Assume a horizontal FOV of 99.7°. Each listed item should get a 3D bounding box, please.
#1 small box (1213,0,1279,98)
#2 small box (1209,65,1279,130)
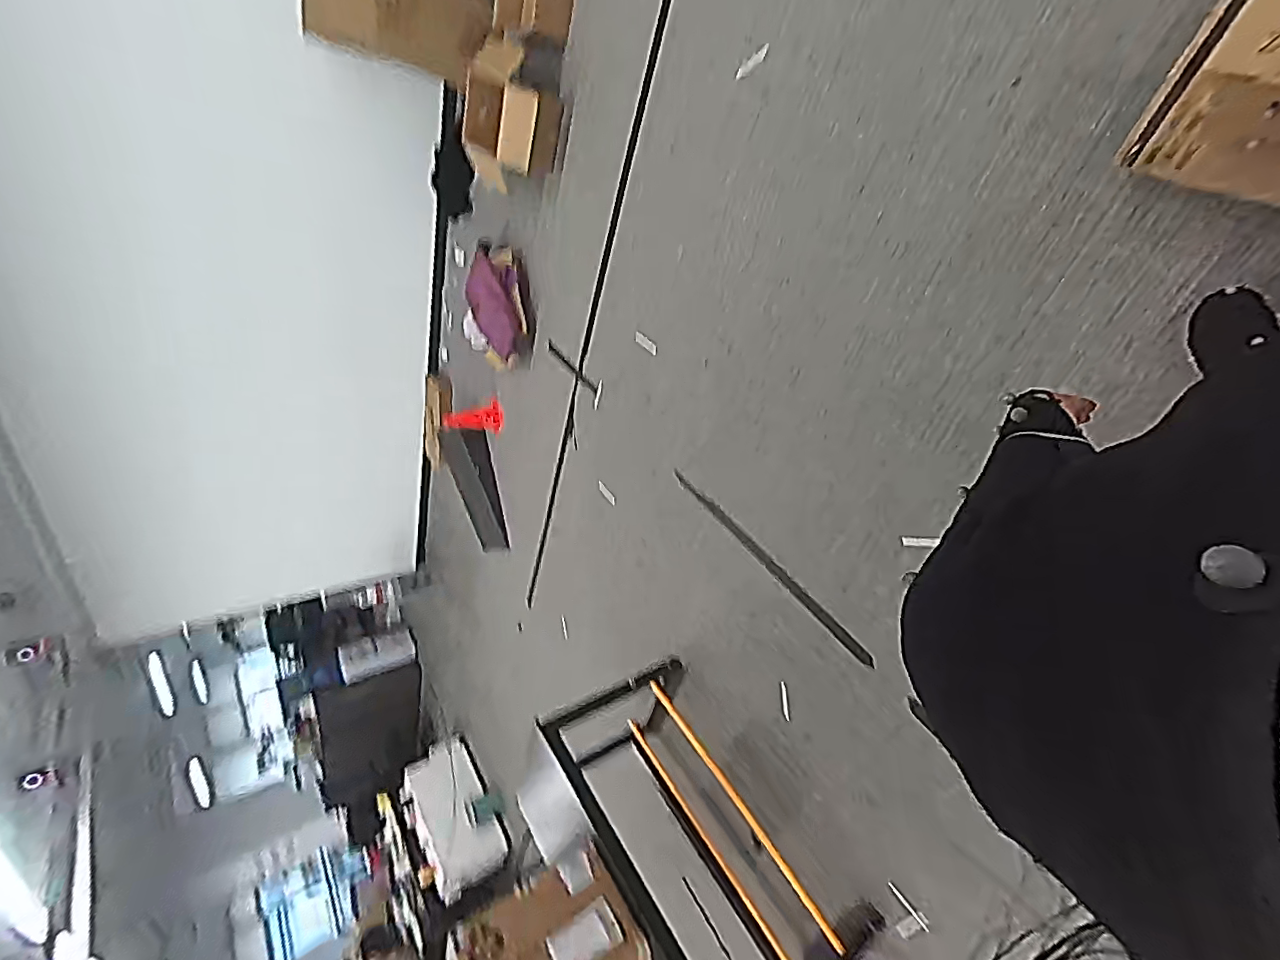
[{"bbox_3d":[0.877,-0.591,0.664,0.168,0.176,0.179,47,133,34],"label":"small box"},{"bbox_3d":[0.992,-0.624,0.780,0.168,0.176,0.179,45,133,35],"label":"small box"}]
